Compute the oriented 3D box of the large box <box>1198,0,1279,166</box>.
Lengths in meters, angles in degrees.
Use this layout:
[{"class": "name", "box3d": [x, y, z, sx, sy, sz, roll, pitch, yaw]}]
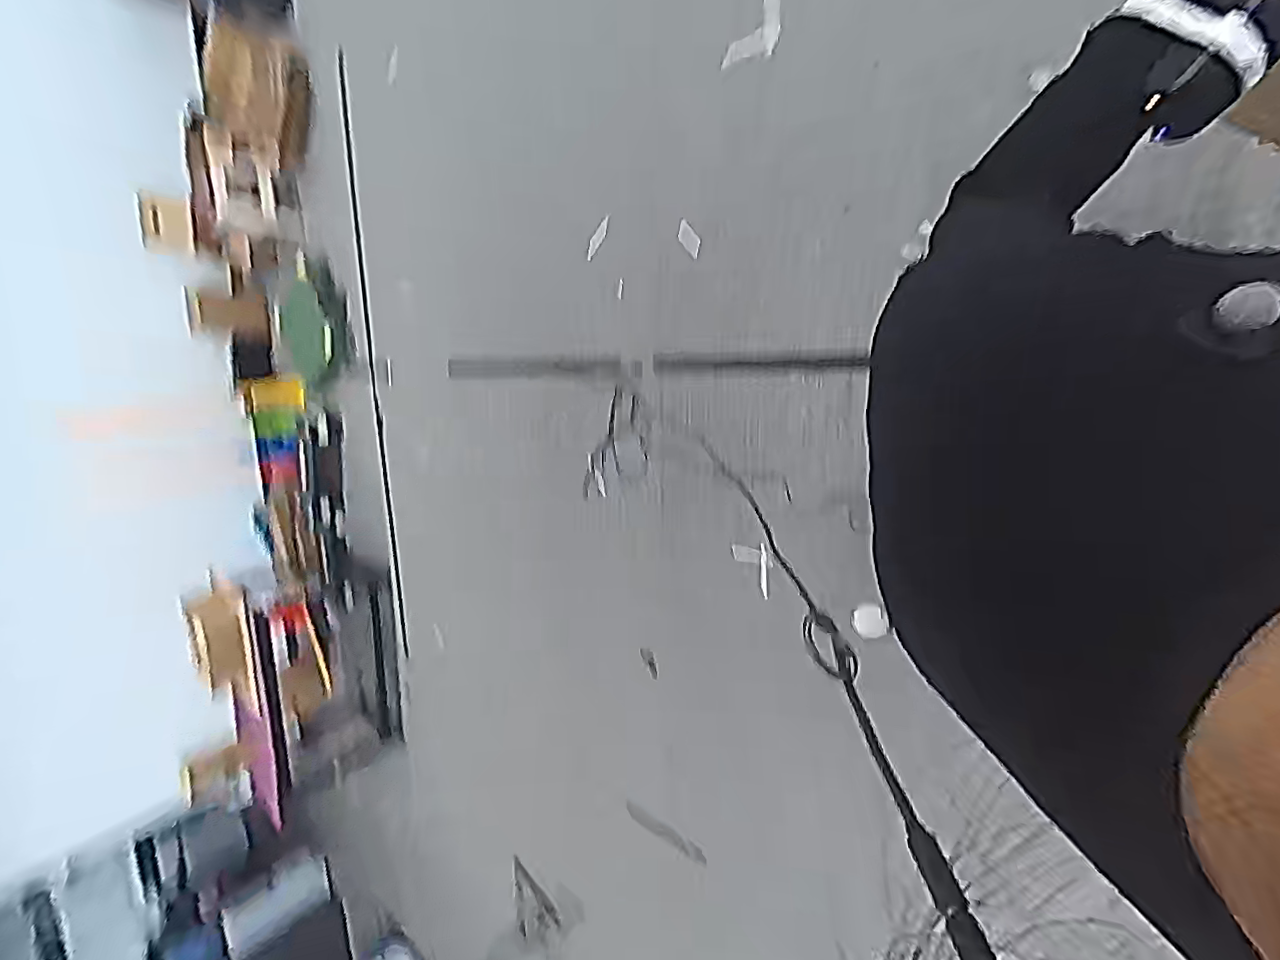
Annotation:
[{"class": "large box", "box3d": [0.648, -0.297, 0.271, 0.408, 0.320, 0.320, 43, 129, 21]}]
